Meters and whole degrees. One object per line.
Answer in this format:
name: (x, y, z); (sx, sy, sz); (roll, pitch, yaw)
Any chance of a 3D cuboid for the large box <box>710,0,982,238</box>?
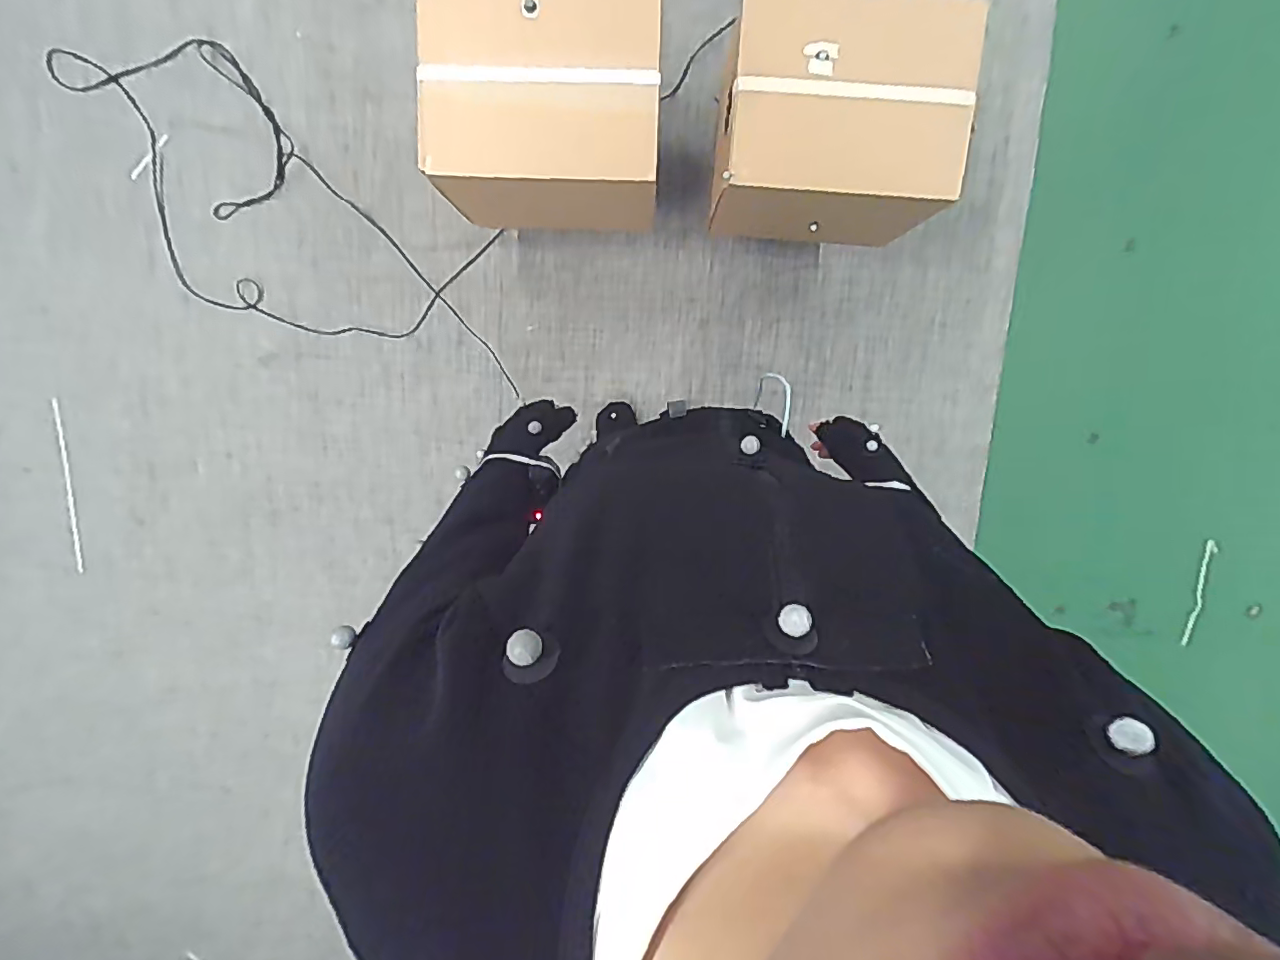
large box: (0.366, -0.685, 1.068); (0.408, 0.320, 0.320); (4, 99, 0)
